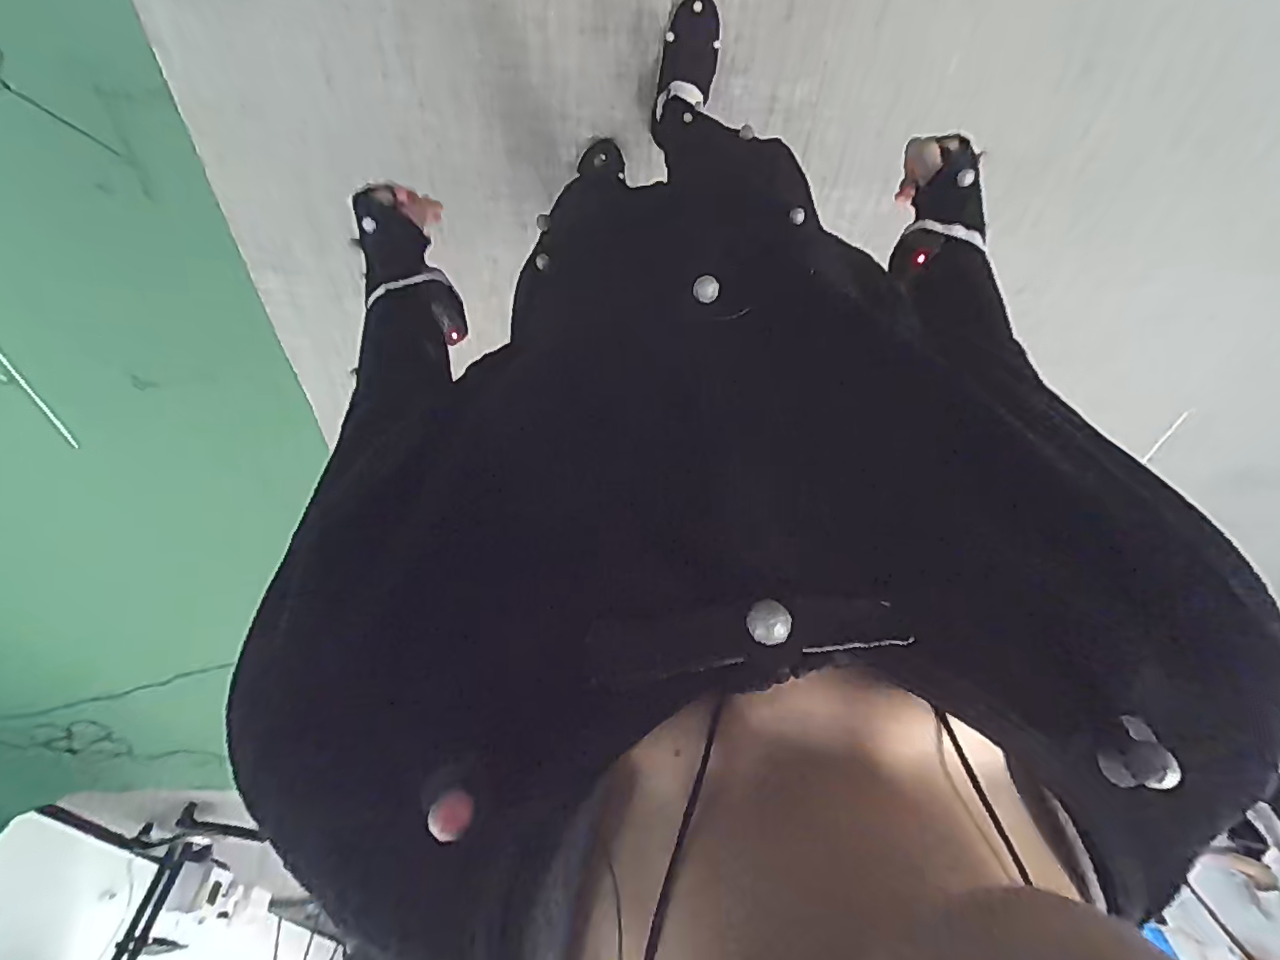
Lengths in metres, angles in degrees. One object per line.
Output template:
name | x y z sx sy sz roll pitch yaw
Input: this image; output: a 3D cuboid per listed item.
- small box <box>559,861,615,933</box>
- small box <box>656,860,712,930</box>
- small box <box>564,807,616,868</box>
small box | -0.173 1.400 1.816 0.179 0.176 0.168 1 133 -3
small box | 0.144 1.416 1.846 0.168 0.176 0.179 3 133 -2
small box | -0.177 1.291 1.940 0.179 0.176 0.168 0 132 -2
